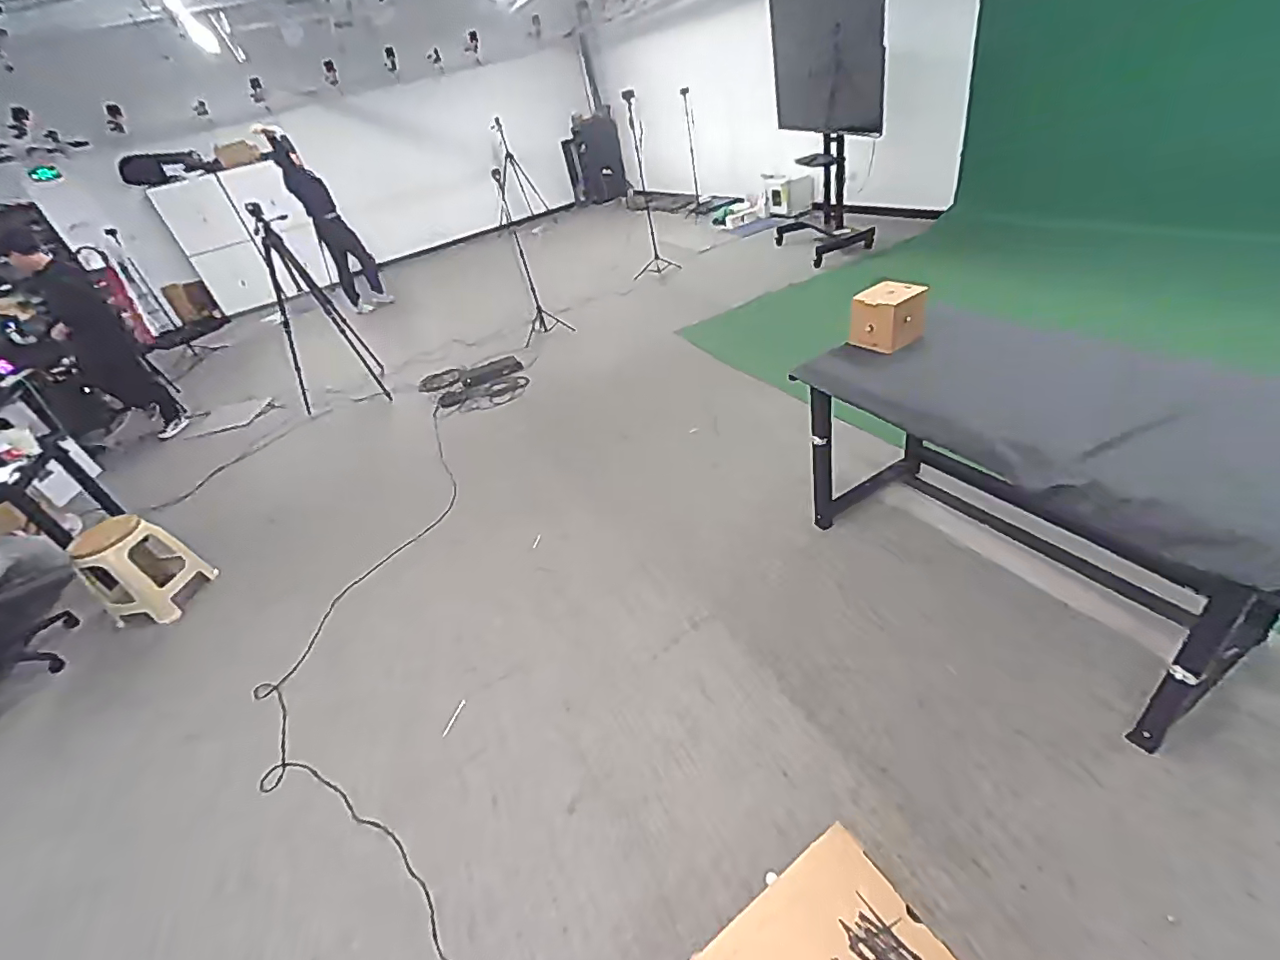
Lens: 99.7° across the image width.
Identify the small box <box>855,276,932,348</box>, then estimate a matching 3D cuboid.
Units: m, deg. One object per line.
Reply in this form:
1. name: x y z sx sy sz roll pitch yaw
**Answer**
1. small box: 0.848 -0.563 1.817 0.179 0.176 0.168 -29 39 -19
